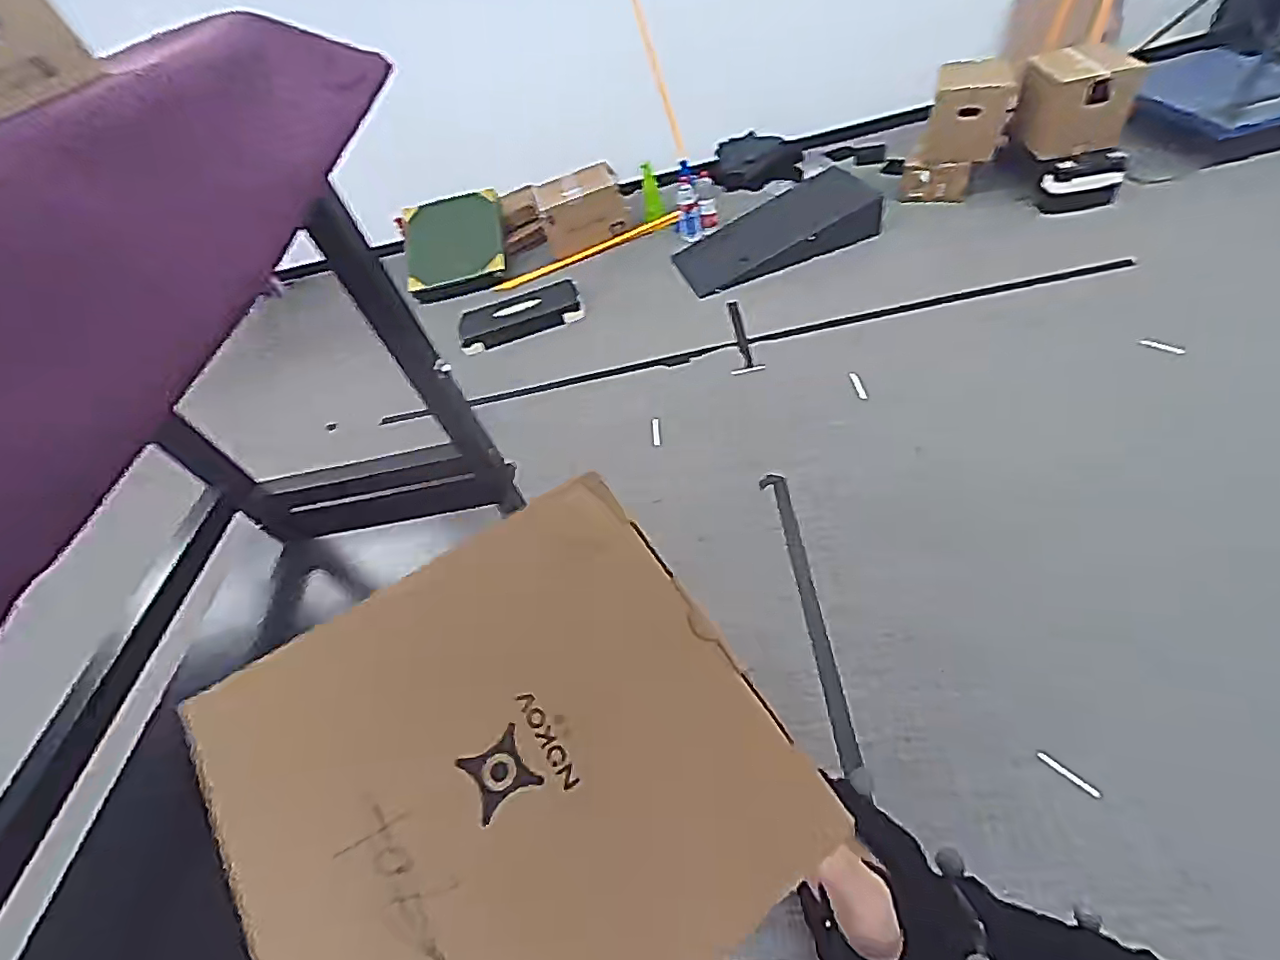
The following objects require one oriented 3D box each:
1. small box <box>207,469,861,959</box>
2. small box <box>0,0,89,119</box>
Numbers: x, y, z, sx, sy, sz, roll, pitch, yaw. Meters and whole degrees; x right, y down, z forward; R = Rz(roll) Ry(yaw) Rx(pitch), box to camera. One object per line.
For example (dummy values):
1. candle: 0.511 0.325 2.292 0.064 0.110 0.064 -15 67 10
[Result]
1. small box: -0.041 0.131 0.257 0.179 0.176 0.168 -30 66 -14
2. small box: -0.613 -0.359 0.412 0.179 0.176 0.168 -8 49 10
